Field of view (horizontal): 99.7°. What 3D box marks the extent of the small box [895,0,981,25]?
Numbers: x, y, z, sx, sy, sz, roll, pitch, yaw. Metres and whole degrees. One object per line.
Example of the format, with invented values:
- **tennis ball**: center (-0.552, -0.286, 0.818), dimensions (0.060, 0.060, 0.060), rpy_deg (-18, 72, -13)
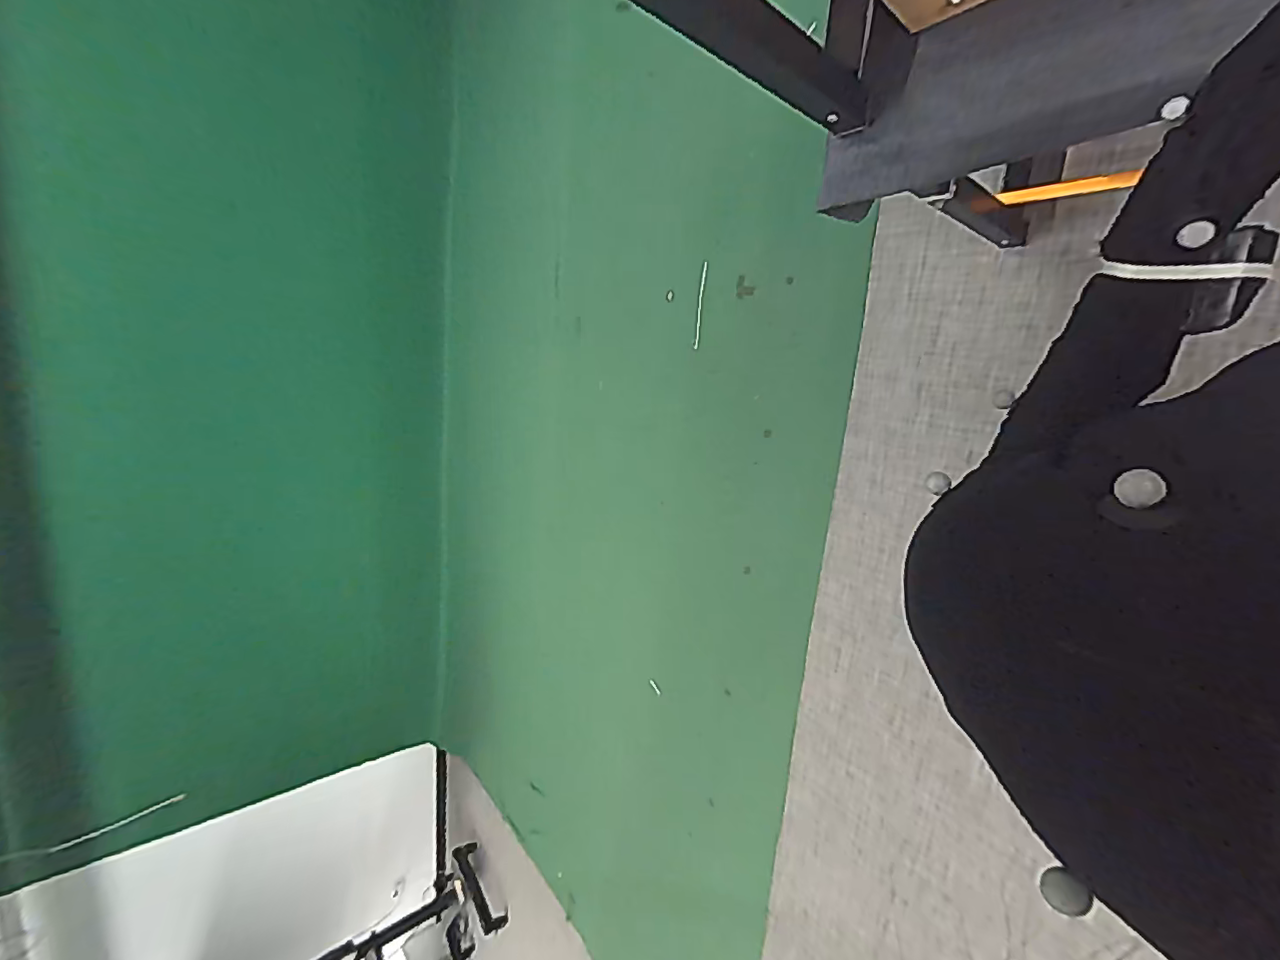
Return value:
- **small box**: center (0.366, -0.676, 0.606), dimensions (0.168, 0.176, 0.179), rpy_deg (14, 104, 48)
